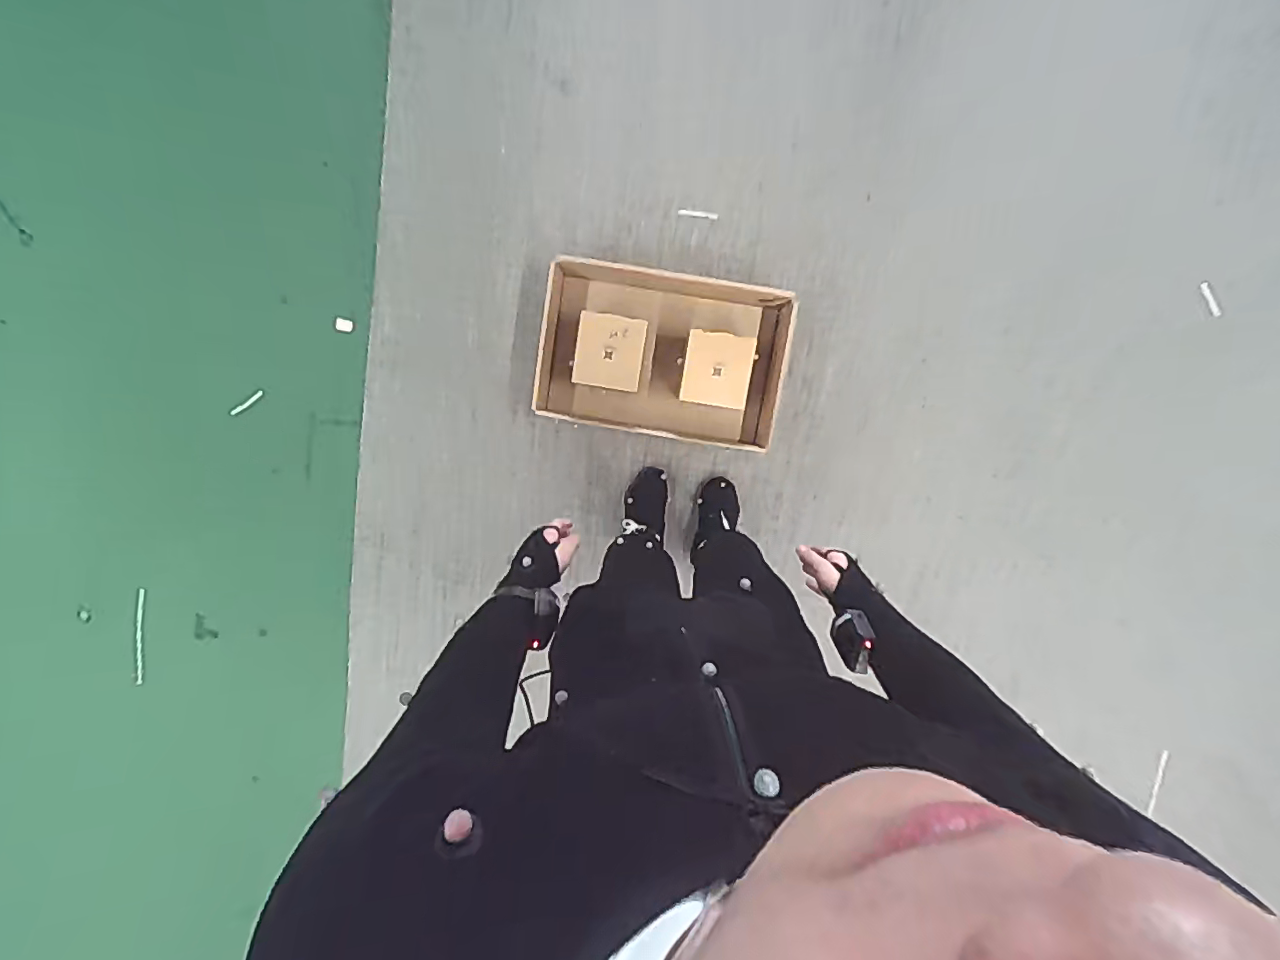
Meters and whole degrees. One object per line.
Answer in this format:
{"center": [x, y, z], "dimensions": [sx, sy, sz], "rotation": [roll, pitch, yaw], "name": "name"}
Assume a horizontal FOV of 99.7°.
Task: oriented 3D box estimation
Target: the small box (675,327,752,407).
{"center": [0.183, -0.288, 1.407], "dimensions": [0.168, 0.176, 0.179], "rotation": [8, 97, 0], "name": "small box"}

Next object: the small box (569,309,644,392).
{"center": [-0.082, -0.328, 1.402], "dimensions": [0.168, 0.176, 0.179], "rotation": [9, 97, -2], "name": "small box"}
